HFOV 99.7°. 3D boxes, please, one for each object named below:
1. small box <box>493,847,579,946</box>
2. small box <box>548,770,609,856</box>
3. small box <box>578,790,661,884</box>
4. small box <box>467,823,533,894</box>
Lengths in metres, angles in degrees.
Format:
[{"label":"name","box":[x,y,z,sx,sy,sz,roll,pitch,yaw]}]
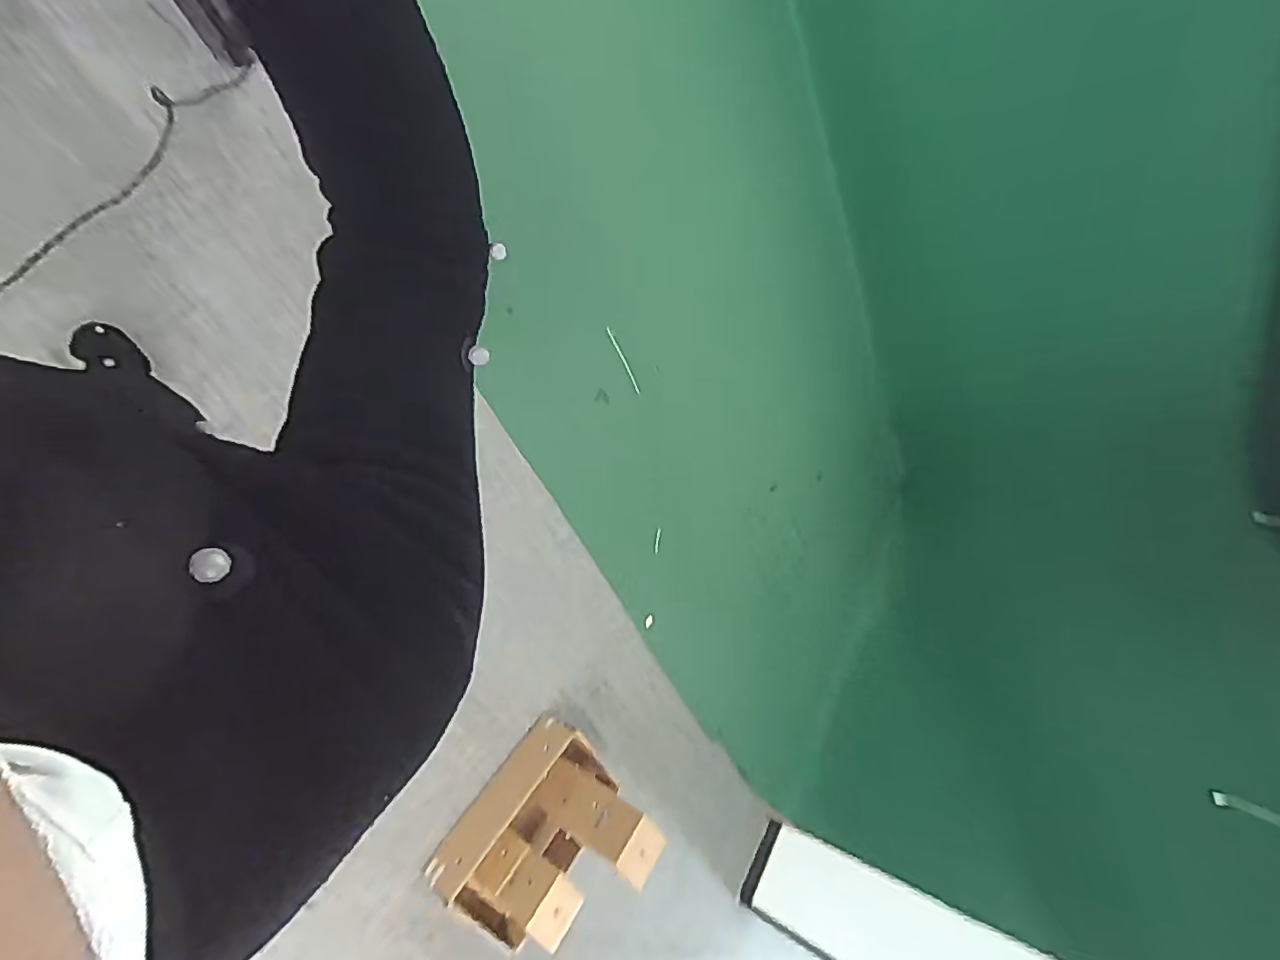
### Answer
[{"label":"small box","box":[-0.333,1.313,1.719,0.168,0.176,0.179,-46,123,-35]},{"label":"small box","box":[-0.182,1.140,1.865,0.168,0.176,0.179,-48,124,-33]},{"label":"small box","box":[-0.067,1.146,1.749,0.168,0.176,0.179,-47,123,-33]},{"label":"small box","box":[-0.453,1.306,1.833,0.168,0.176,0.179,-47,123,-35]}]
